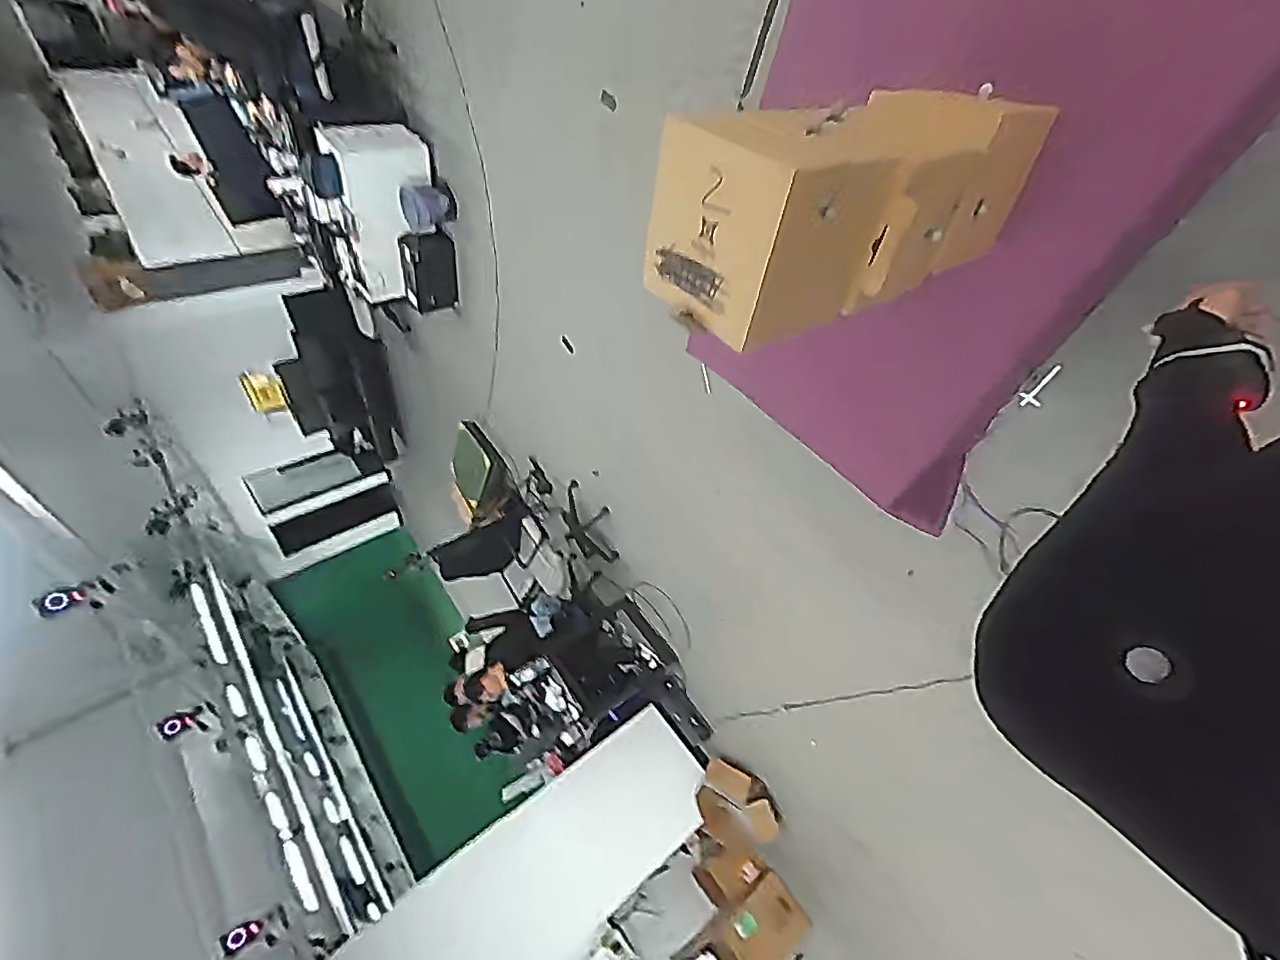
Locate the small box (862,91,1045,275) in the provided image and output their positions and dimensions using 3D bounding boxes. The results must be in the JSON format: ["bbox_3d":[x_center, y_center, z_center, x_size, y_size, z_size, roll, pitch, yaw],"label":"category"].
[{"bbox_3d":[0.389,-0.399,0.718,0.168,0.176,0.179,40,141,33],"label":"small box"}]

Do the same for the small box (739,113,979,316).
[{"bbox_3d":[0.254,-0.326,0.653,0.179,0.176,0.168,44,145,29],"label":"small box"}]
